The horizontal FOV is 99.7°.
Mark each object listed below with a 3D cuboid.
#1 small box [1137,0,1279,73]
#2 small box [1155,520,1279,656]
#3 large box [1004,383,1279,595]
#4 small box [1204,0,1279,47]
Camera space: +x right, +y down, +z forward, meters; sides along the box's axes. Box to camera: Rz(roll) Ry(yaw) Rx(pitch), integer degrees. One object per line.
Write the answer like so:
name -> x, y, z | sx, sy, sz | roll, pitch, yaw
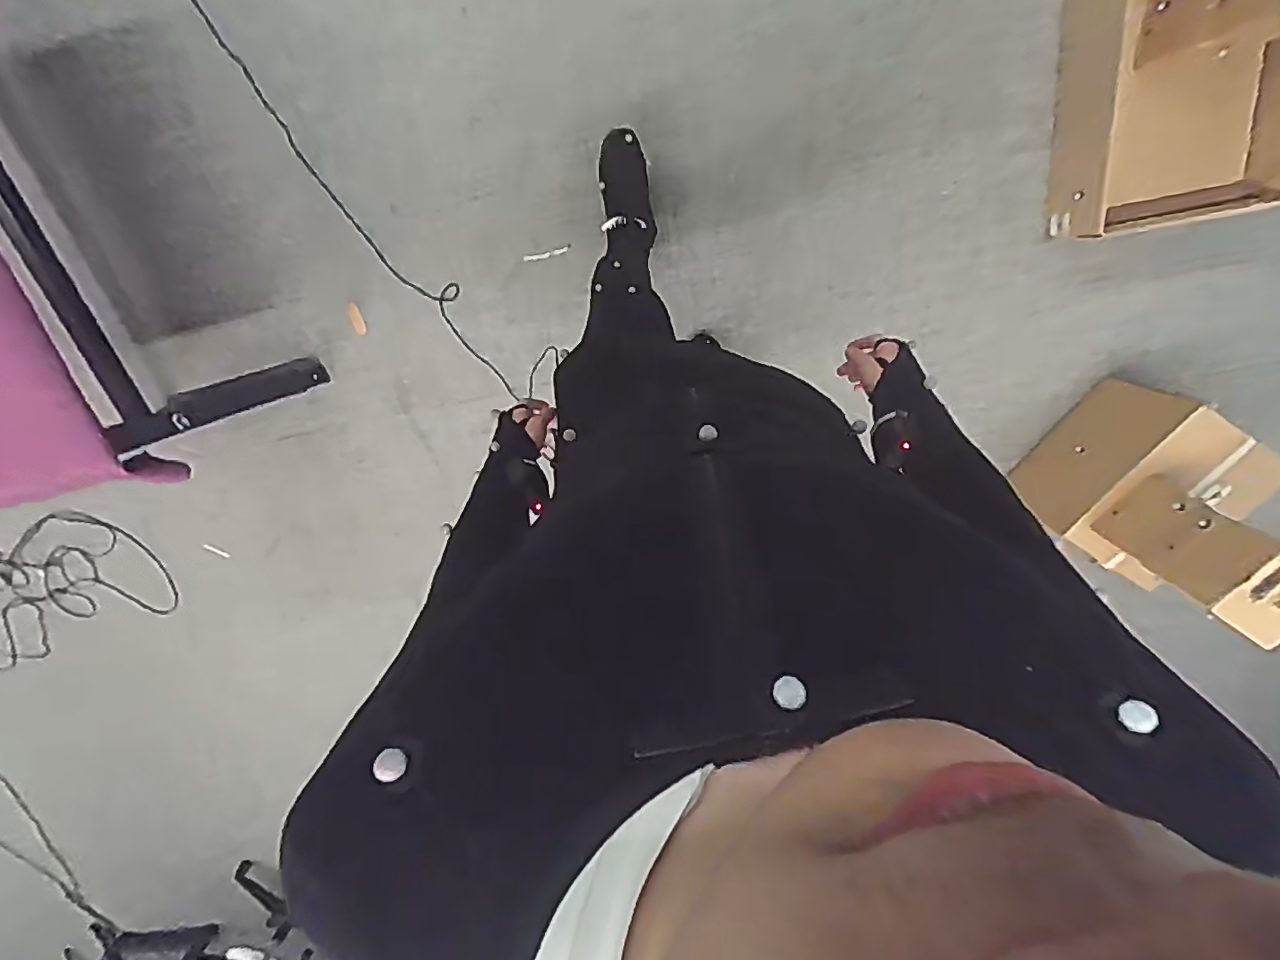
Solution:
small box -> 1.161, -0.939, 1.073 | 0.179, 0.176, 0.168 | -5, 115, 7
small box -> 1.199, 0.202, 1.066 | 0.179, 0.176, 0.168 | 31, 111, -9
large box -> 1.295, 0.013, 1.426 | 0.320, 0.320, 0.408 | 30, 110, -9
small box -> 1.155, -0.871, 0.925 | 0.179, 0.176, 0.168 | -1, 114, 6
